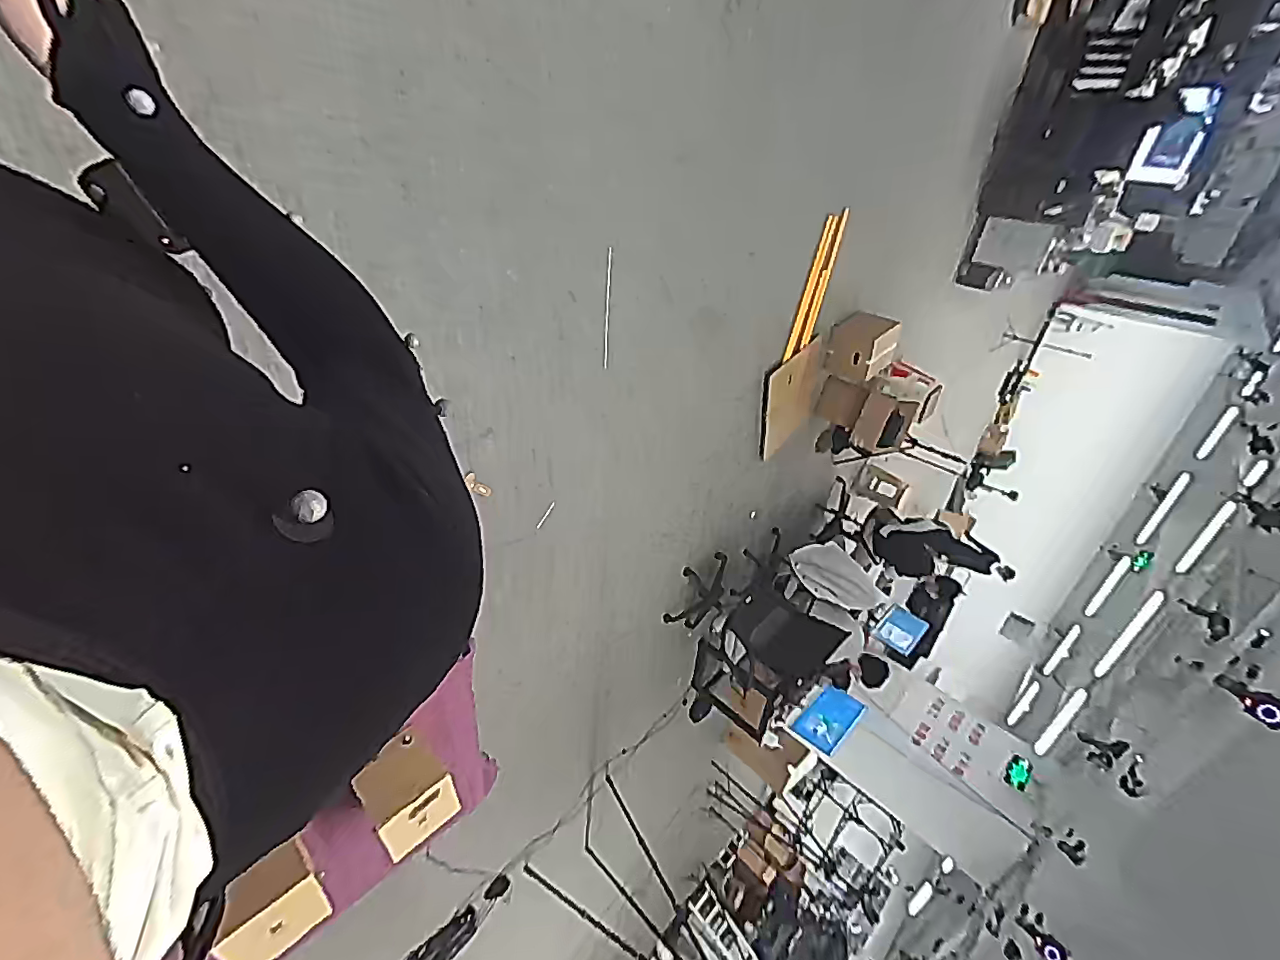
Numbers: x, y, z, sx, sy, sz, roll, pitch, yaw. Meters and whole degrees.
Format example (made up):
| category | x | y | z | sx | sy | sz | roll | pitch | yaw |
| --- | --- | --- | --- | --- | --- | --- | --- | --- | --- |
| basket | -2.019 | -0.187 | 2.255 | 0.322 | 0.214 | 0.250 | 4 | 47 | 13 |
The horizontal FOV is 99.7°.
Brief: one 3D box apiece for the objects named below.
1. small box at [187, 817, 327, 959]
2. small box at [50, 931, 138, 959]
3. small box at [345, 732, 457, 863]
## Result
| category | x | y | z | sx | sy | sz | roll | pitch | yaw |
| --- | --- | --- | --- | --- | --- | --- | --- | --- | --- |
| small box | -0.754 | 0.819 | 1.070 | 0.168 | 0.176 | 0.179 | -26 | 133 | -39 |
| small box | -0.949 | 0.914 | 0.899 | 0.168 | 0.176 | 0.179 | -24 | 133 | -40 |
| small box | -0.548 | 0.717 | 1.241 | 0.168 | 0.176 | 0.179 | -28 | 136 | -36 |
